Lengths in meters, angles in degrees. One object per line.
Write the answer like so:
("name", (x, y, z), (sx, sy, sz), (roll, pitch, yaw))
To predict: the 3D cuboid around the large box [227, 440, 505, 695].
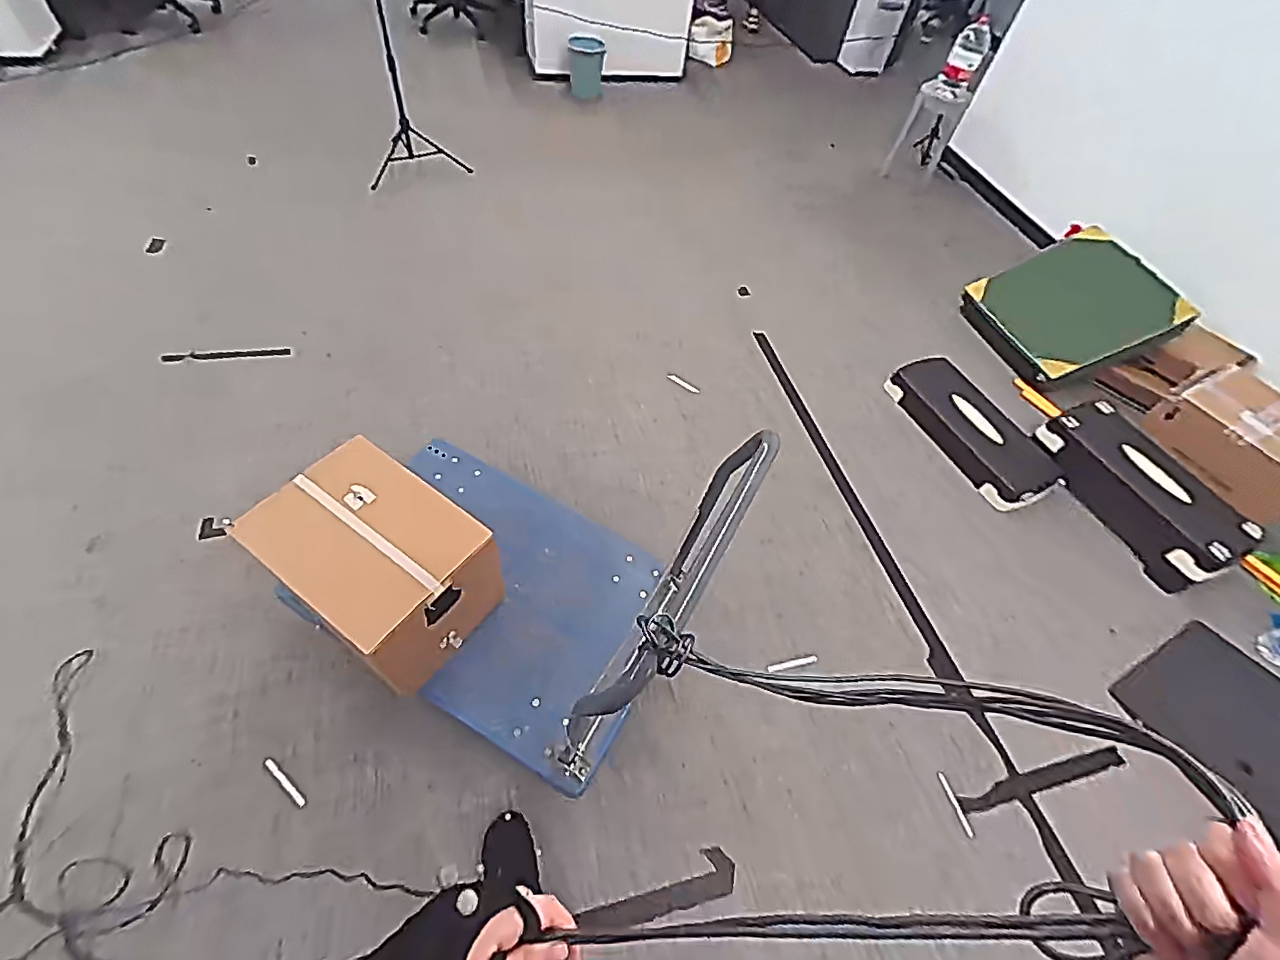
("large box", (-0.556, 0.193, 1.177), (0.408, 0.320, 0.320), (32, 56, 15))
